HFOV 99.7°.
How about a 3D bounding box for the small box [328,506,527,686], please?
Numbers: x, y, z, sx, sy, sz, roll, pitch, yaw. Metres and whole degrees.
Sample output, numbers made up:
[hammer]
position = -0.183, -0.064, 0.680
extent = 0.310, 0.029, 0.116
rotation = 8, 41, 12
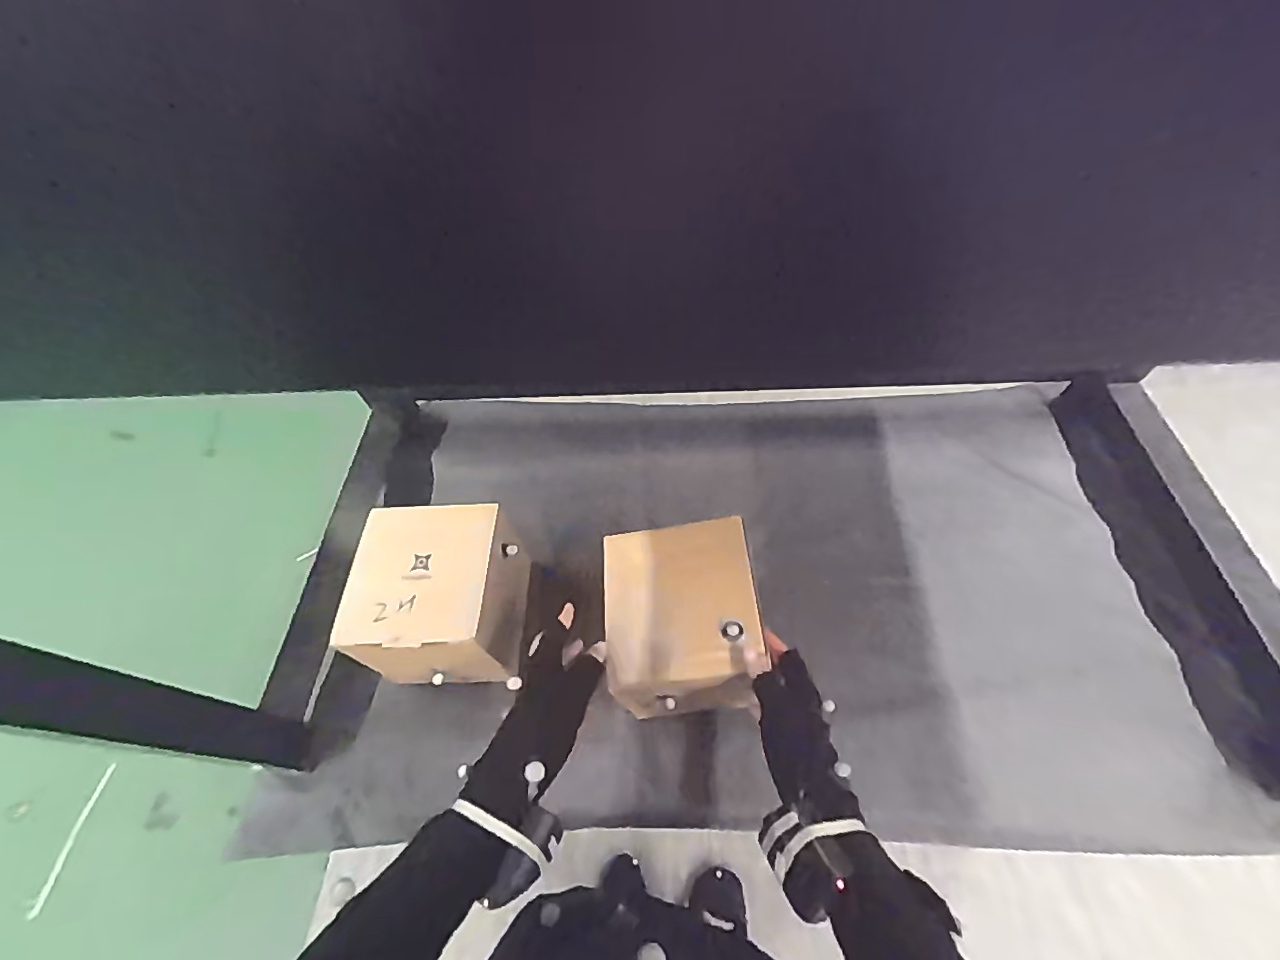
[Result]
[small box]
position = -0.250, 0.150, 0.690
extent = 0.168, 0.176, 0.179
rotation = -2, 55, 4
